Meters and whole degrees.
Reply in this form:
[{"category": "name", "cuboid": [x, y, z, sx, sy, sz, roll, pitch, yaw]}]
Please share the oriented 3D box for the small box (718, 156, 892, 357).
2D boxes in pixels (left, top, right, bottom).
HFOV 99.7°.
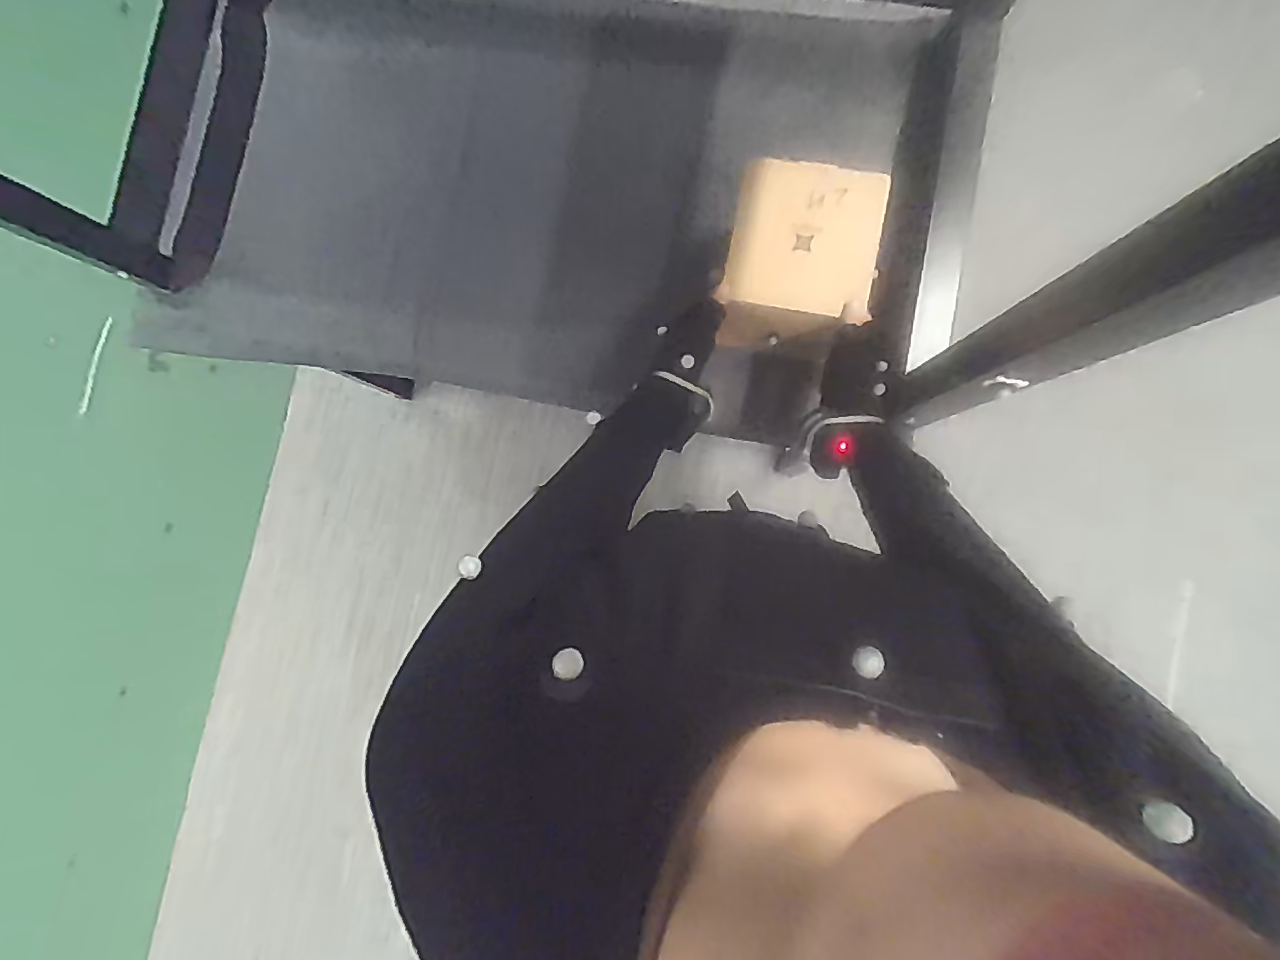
[{"category": "small box", "cuboid": [0.198, -0.272, 0.698, 0.168, 0.176, 0.179, 12, 87, 5]}]
